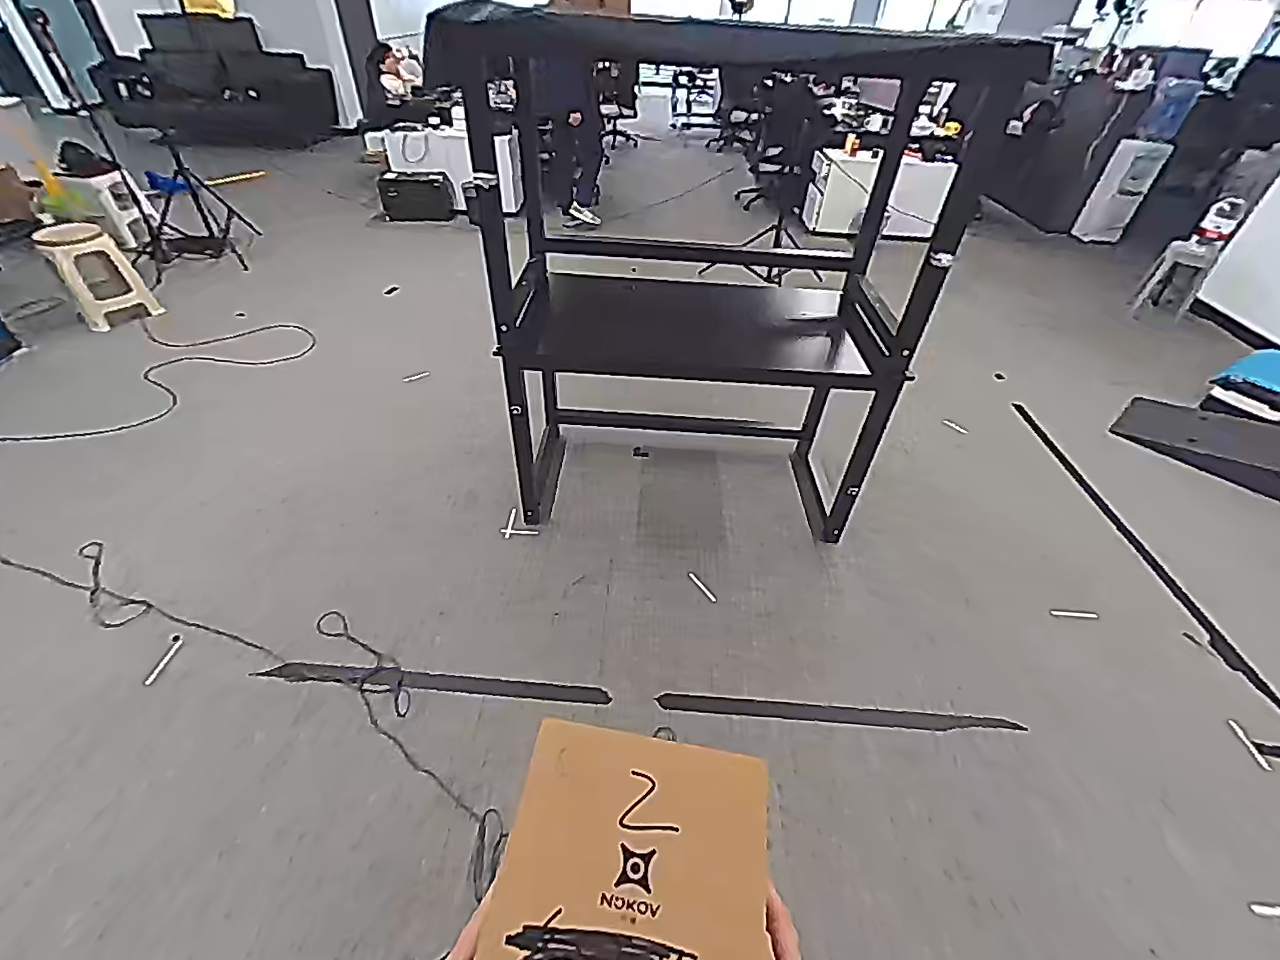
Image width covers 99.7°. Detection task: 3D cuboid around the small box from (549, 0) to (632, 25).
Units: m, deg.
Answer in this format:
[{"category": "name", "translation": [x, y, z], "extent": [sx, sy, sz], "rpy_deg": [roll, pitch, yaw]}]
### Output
[{"category": "small box", "translation": [-0.098, -1.039, 1.099], "extent": [0.168, 0.176, 0.179], "rpy_deg": [3, 39, -3]}]
